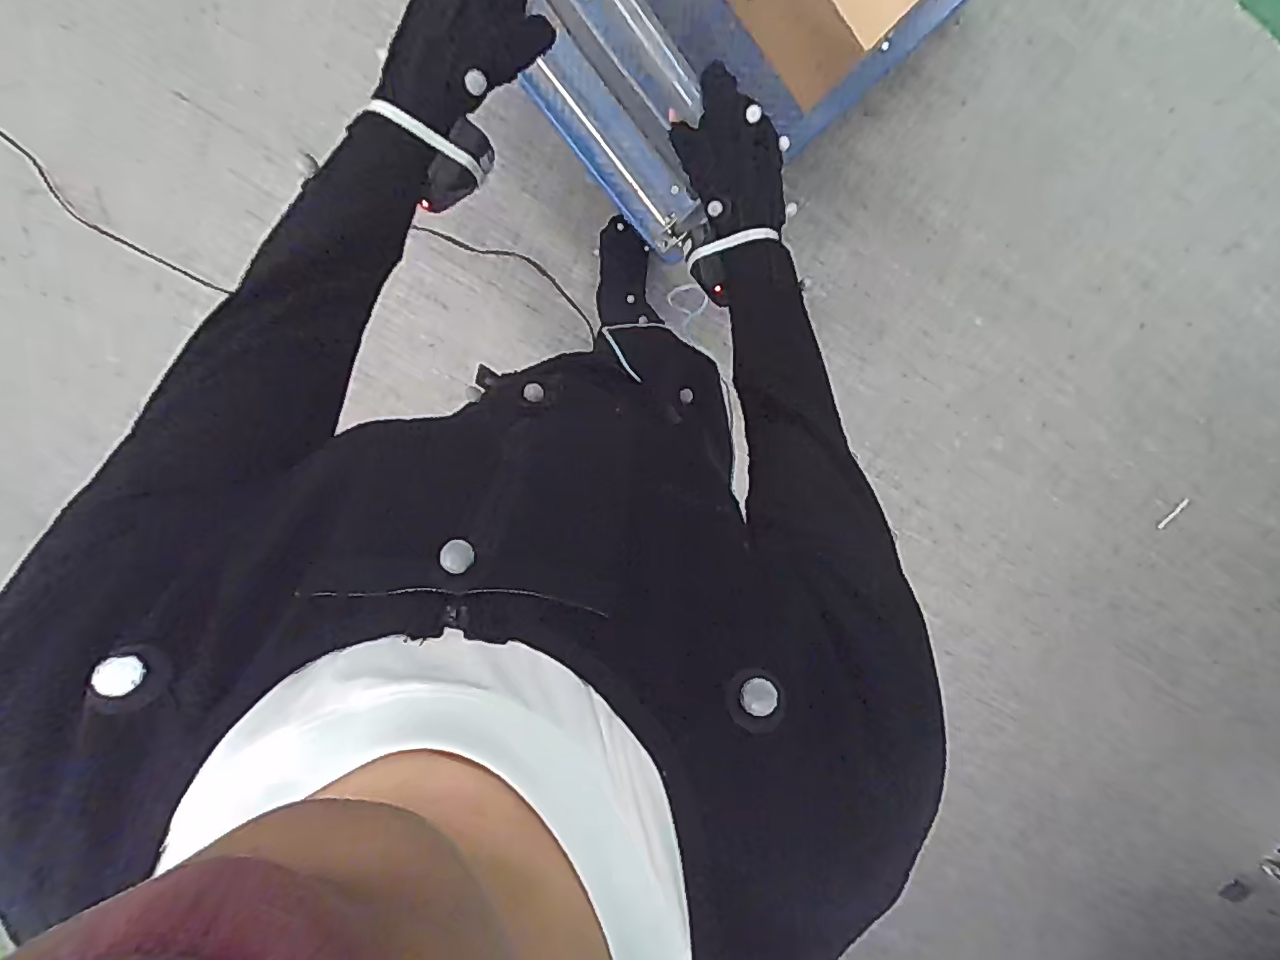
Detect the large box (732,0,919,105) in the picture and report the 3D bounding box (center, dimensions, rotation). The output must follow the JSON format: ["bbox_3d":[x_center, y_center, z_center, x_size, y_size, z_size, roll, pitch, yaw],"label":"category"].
[{"bbox_3d":[0.305,-0.911,0.840,0.320,0.320,0.408,-41,104,13],"label":"large box"}]
